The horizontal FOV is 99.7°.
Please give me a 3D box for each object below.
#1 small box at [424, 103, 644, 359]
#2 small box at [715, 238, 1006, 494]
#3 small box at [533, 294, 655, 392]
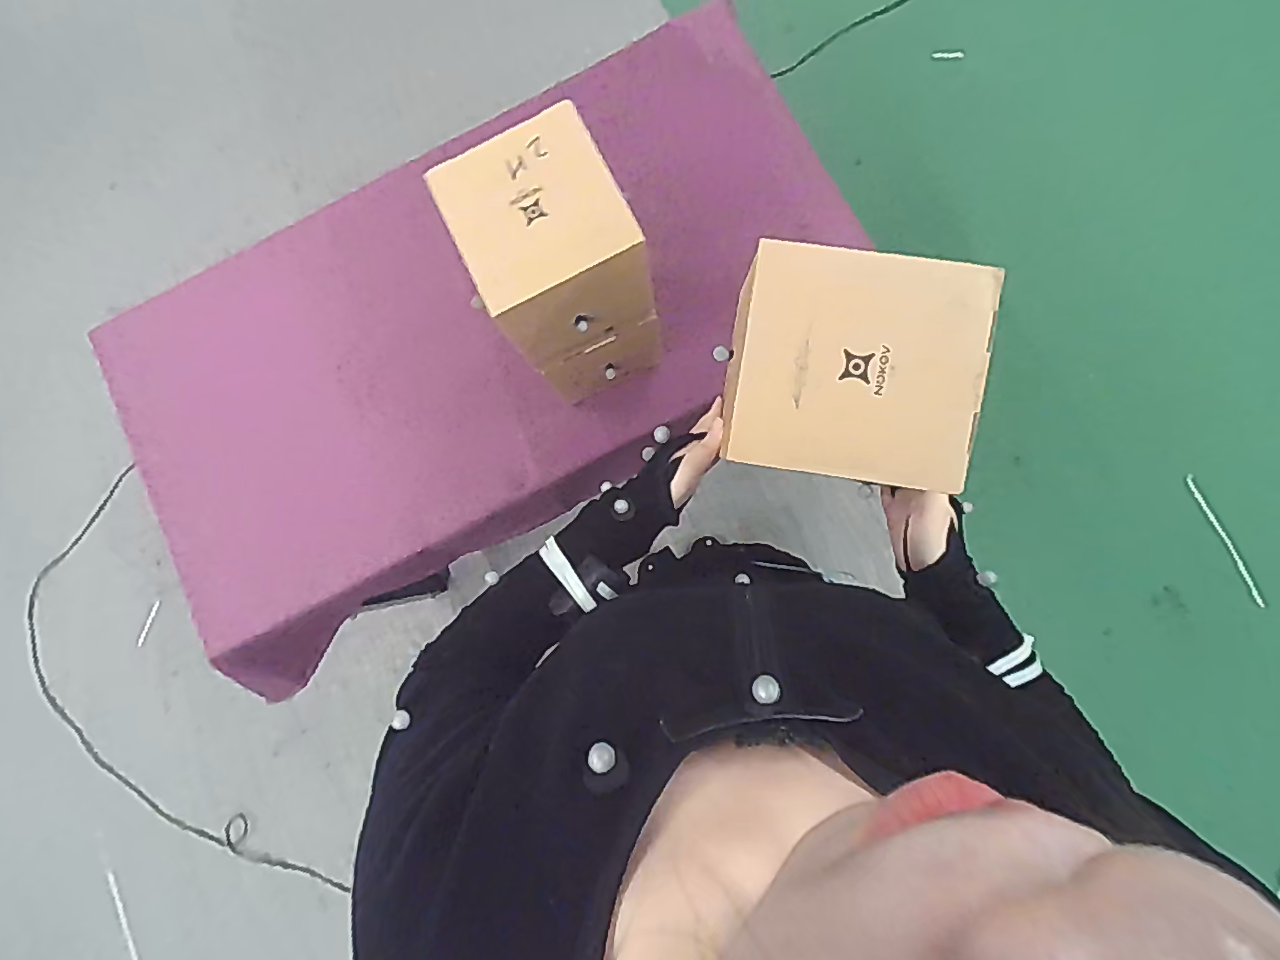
[{"bbox_3d":[-0.102,-0.255,0.603,0.168,0.176,0.179,-24,81,0],"label":"small box"},{"bbox_3d":[0.170,-0.089,0.477,0.179,0.176,0.168,10,94,3],"label":"small box"},{"bbox_3d":[-0.085,-0.241,0.769,0.168,0.176,0.179,-26,83,0],"label":"small box"}]
